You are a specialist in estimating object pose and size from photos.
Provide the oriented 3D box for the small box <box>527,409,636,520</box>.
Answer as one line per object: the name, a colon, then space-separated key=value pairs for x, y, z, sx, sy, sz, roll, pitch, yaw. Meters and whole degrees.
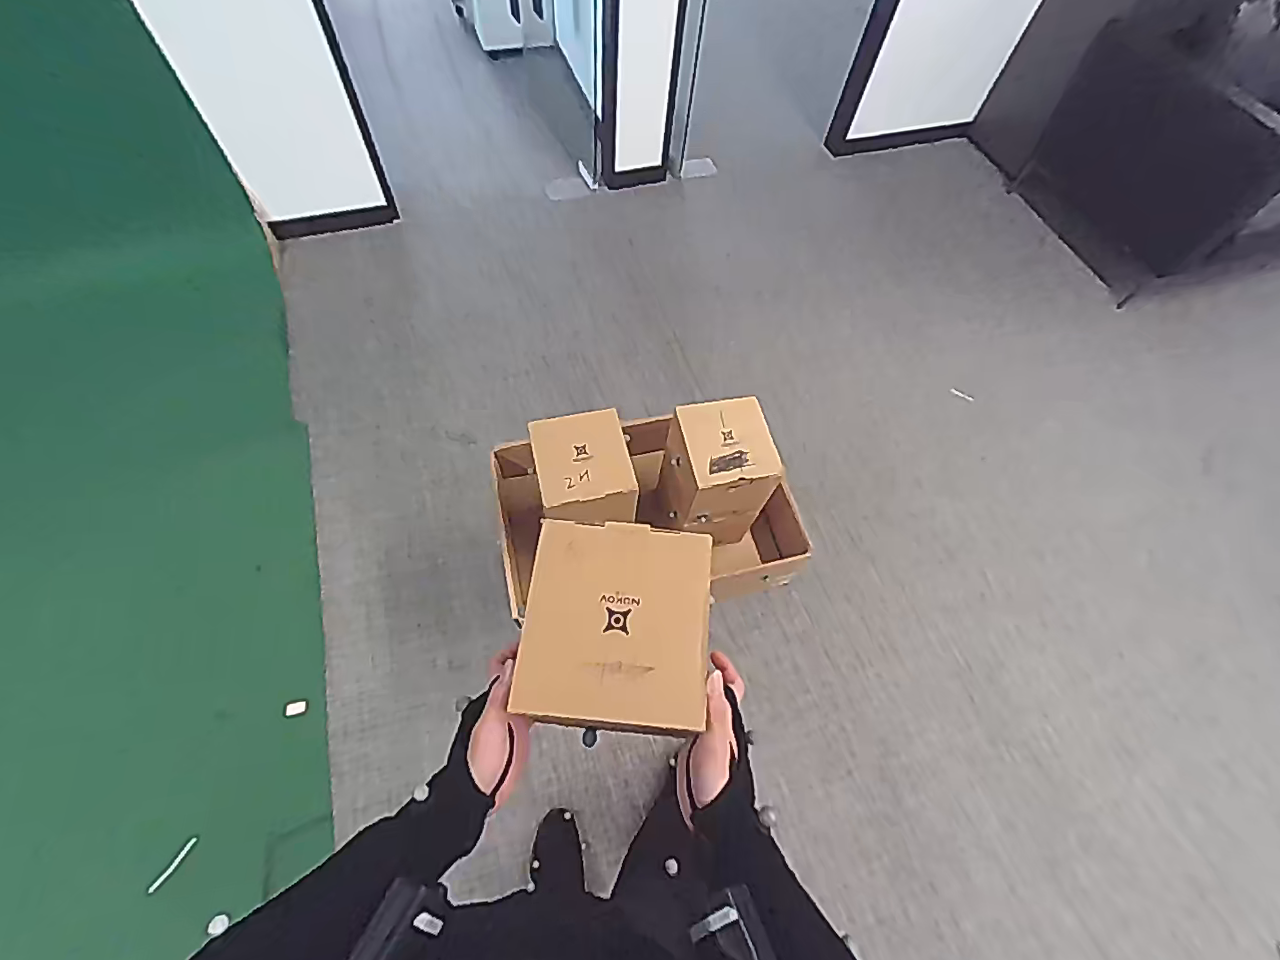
small box: x=-0.111 y=-0.004 z=1.011 sx=0.168 sy=0.176 sz=0.179 roll=-11 pitch=63 yaw=-10

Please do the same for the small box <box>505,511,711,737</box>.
small box: x=-0.025 y=0.151 z=0.544 sx=0.168 sy=0.176 sz=0.179 roll=6 pitch=62 yaw=1

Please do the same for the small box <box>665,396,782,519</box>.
small box: x=0.152 y=-0.035 z=1.051 sx=0.168 sy=0.176 sz=0.179 roll=-9 pitch=63 yaw=-10
